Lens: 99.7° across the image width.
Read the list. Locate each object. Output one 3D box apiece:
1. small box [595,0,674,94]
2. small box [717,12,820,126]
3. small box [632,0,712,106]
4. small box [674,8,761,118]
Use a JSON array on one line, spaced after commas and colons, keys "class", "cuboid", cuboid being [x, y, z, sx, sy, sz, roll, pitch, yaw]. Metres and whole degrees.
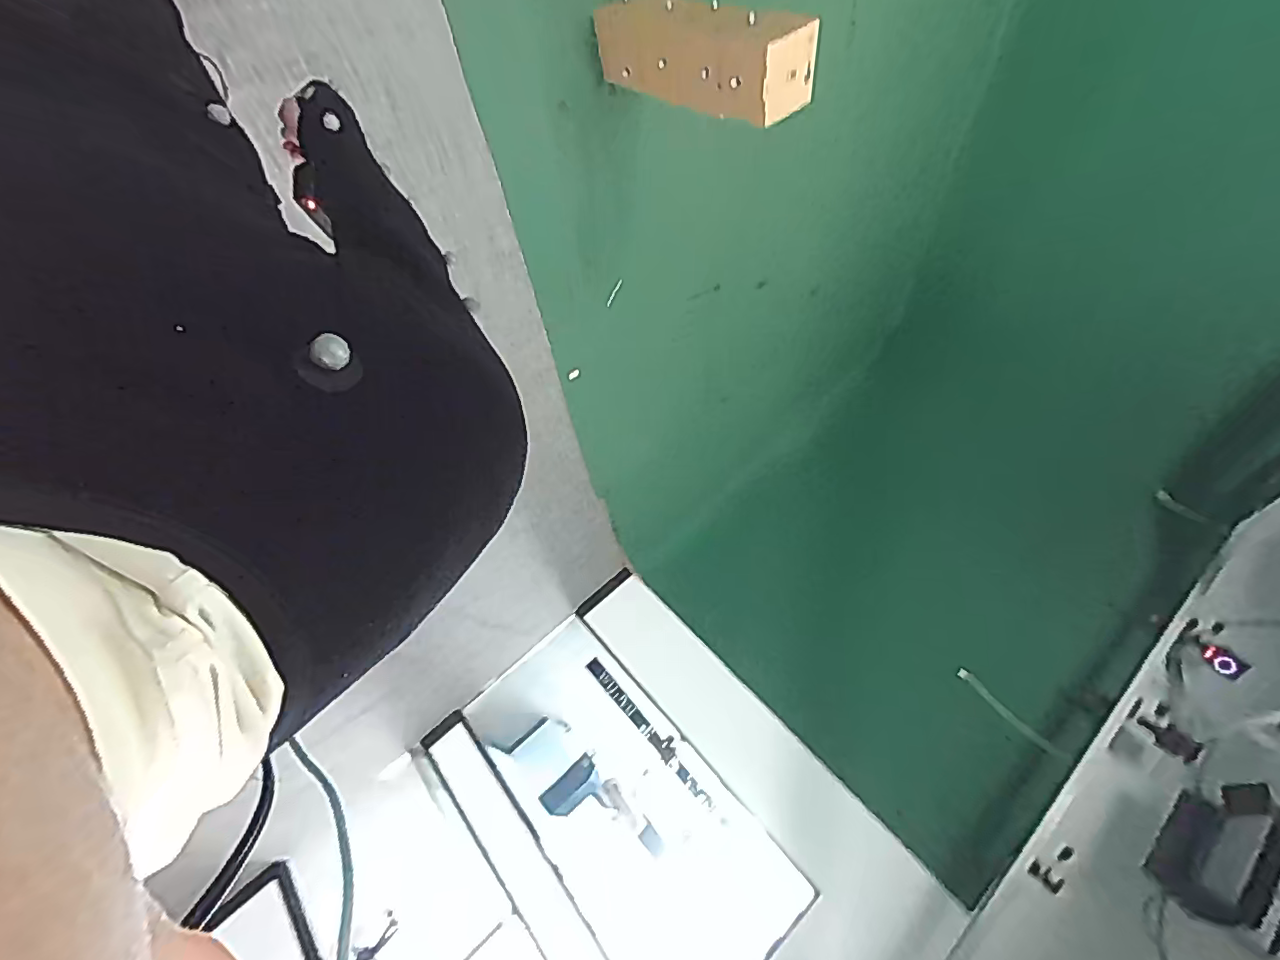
[{"class": "small box", "cuboid": [-0.007, -1.265, 1.563, 0.168, 0.176, 0.179, -40, 149, -15]}, {"class": "small box", "cuboid": [0.298, -0.989, 1.297, 0.179, 0.176, 0.168, -37, 148, -17]}, {"class": "small box", "cuboid": [0.099, -1.172, 1.482, 0.168, 0.176, 0.179, -39, 148, -16]}, {"class": "small box", "cuboid": [0.203, -1.080, 1.395, 0.168, 0.176, 0.179, -40, 149, -14]}]
